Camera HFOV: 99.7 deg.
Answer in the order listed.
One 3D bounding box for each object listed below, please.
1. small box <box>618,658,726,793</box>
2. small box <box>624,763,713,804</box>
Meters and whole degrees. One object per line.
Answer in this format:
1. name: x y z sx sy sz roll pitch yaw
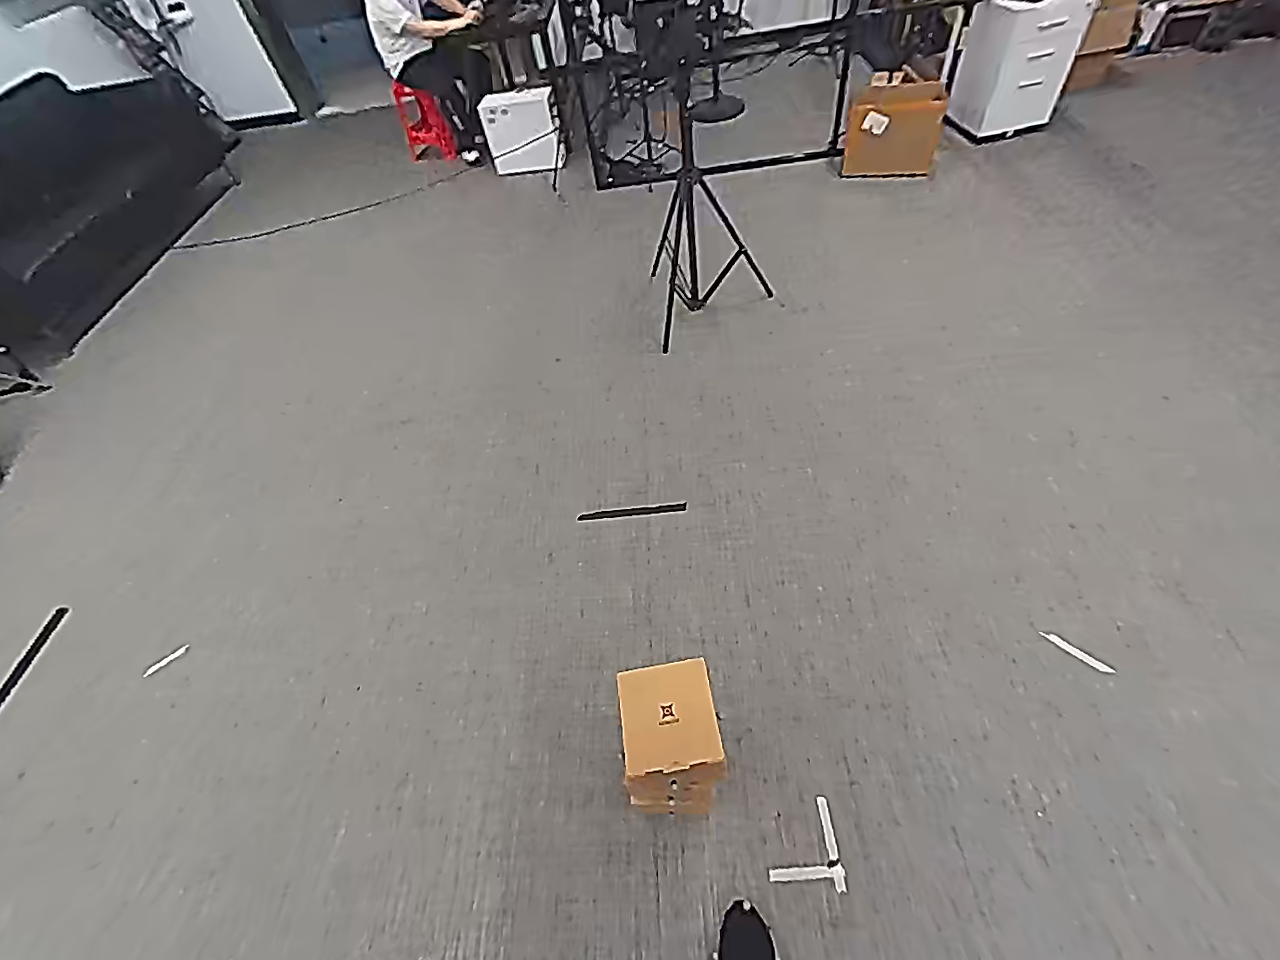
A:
1. small box: 0.059 0.453 0.994 0.168 0.176 0.179 -11 51 1
2. small box: 0.067 0.555 1.121 0.168 0.176 0.179 -2 52 9
